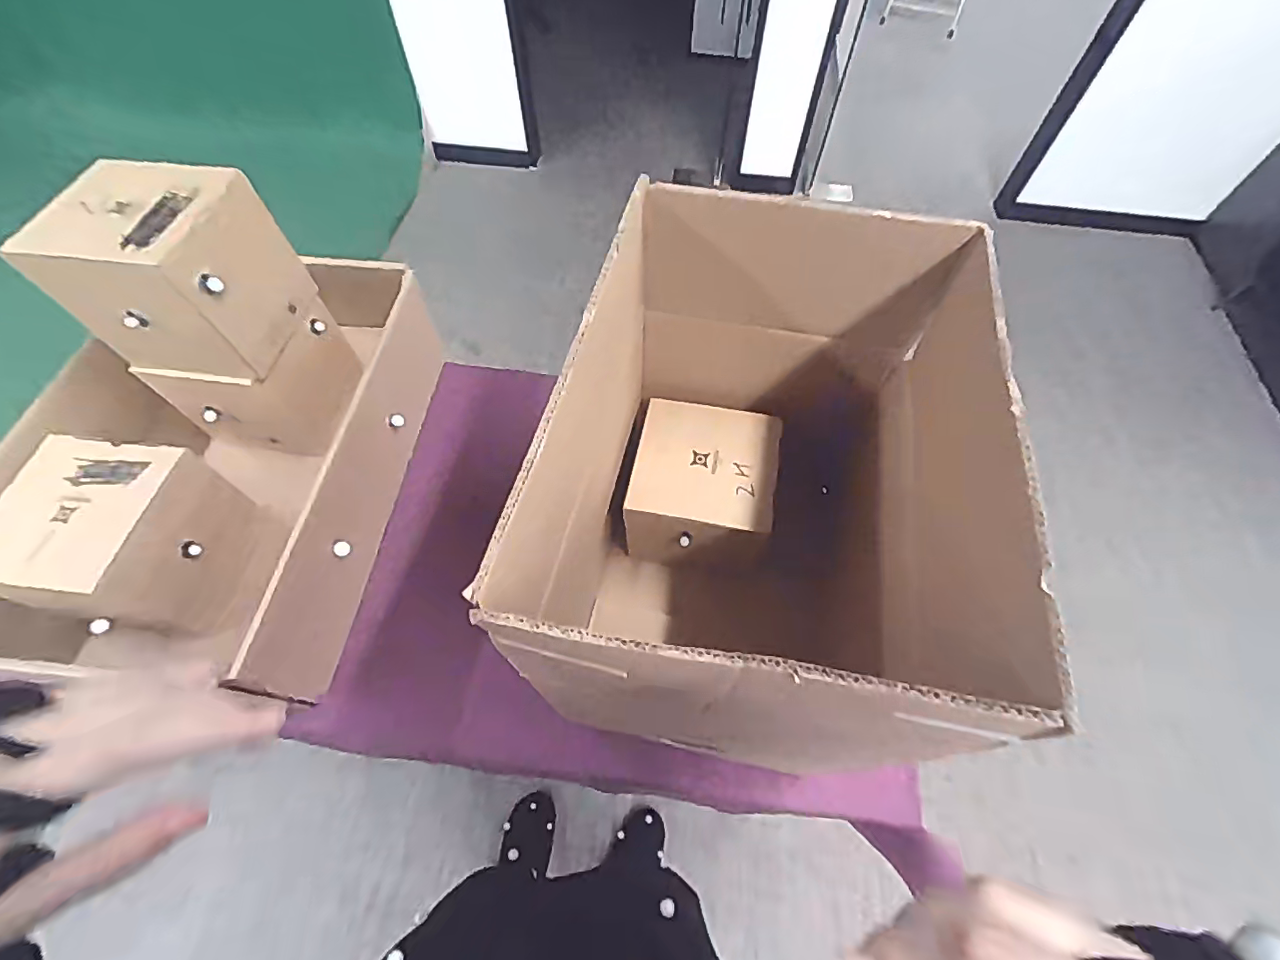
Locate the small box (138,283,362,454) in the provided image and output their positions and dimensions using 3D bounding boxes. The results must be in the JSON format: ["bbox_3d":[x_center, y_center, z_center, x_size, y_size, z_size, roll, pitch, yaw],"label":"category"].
[{"bbox_3d":[-0.541,-0.156,0.785,0.168,0.176,0.179,7,60,5],"label":"small box"}]
